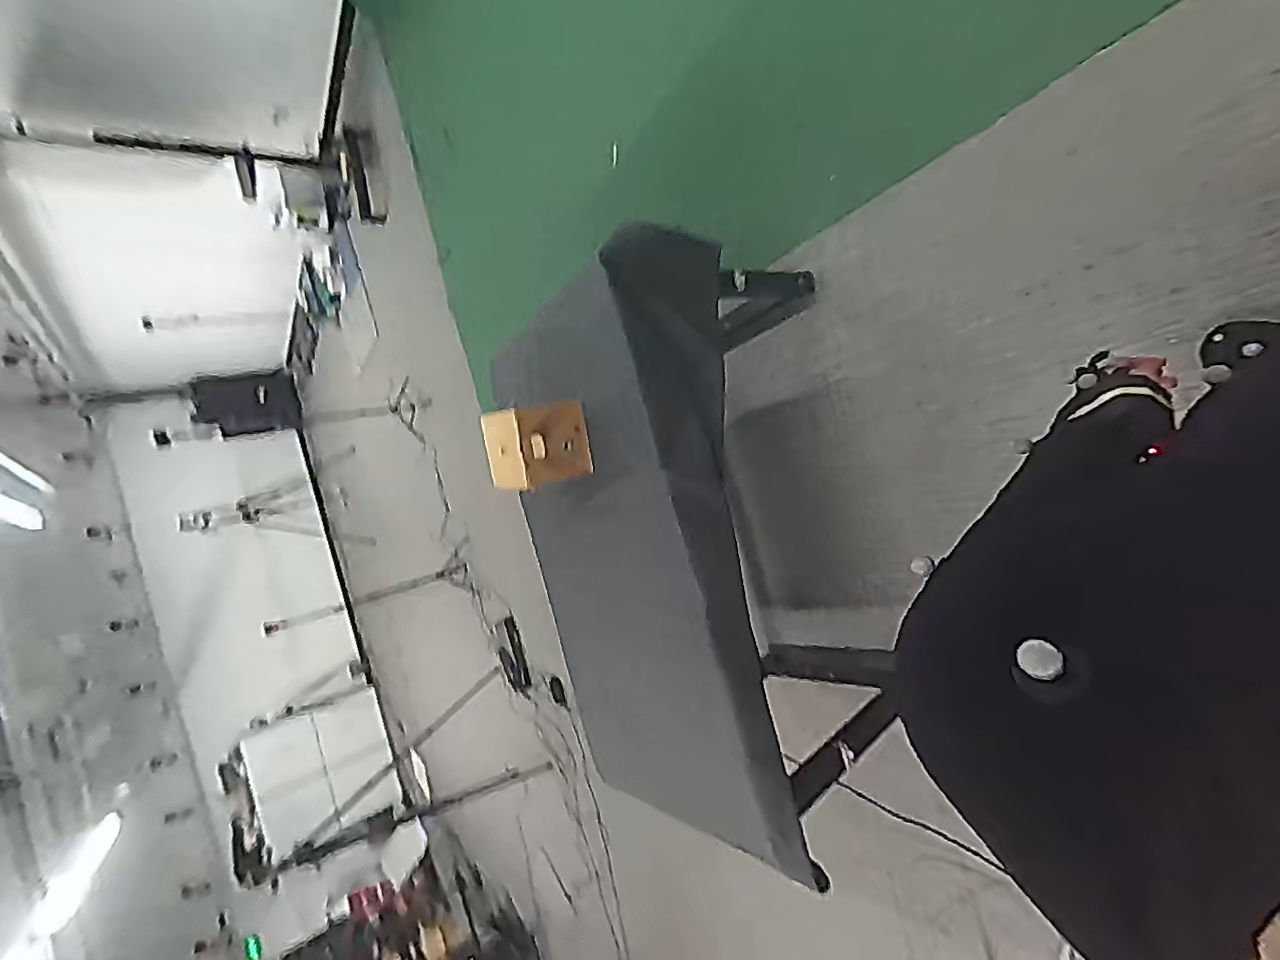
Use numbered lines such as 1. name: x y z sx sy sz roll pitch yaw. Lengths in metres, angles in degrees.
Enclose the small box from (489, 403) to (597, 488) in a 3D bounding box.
1. small box: -0.219 -0.077 1.224 0.179 0.176 0.168 -1 101 51
